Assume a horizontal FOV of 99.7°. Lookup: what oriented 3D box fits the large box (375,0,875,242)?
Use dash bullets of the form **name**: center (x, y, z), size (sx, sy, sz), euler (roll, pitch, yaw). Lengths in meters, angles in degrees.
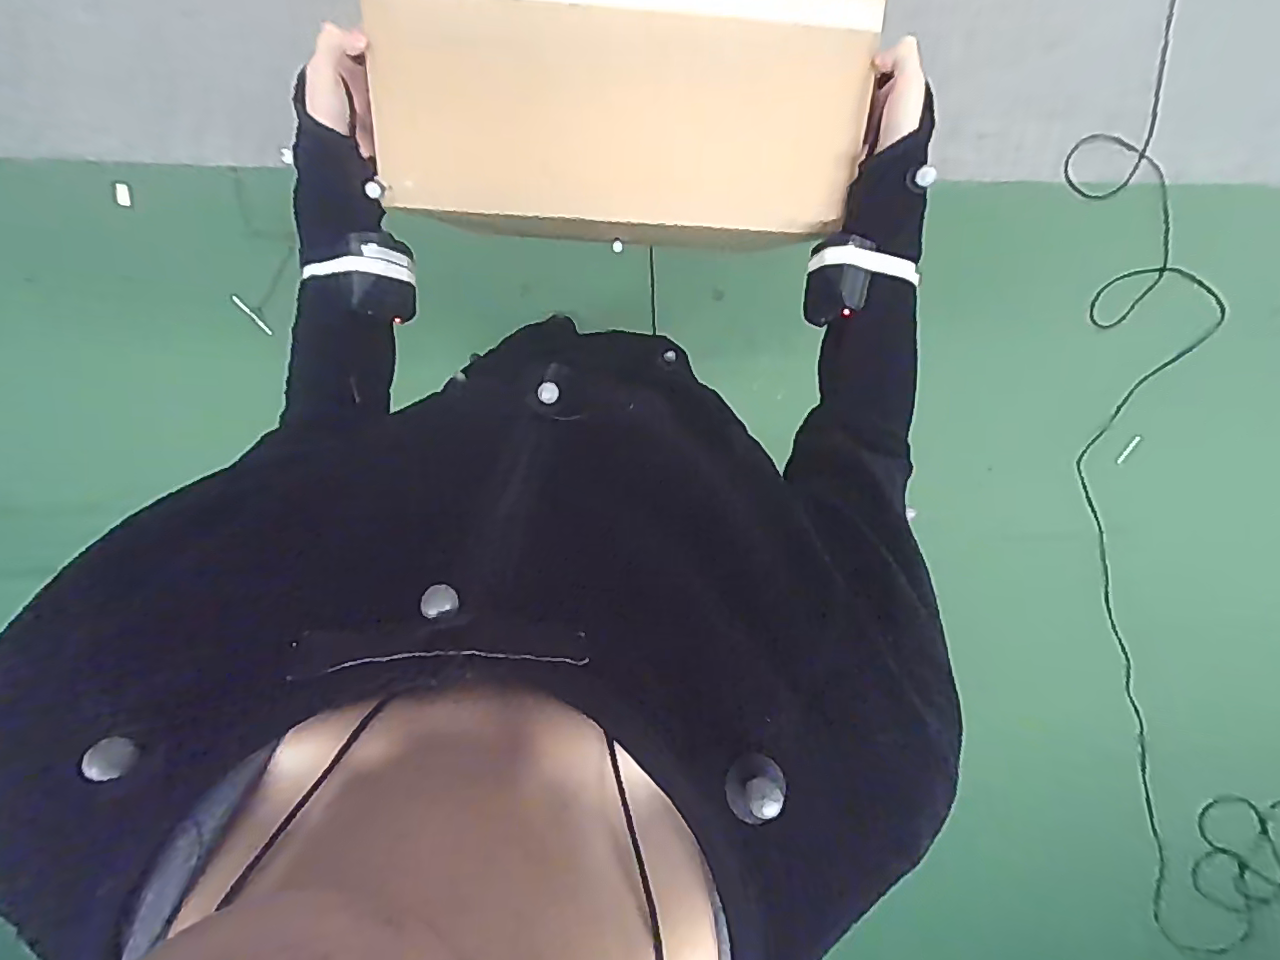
- **large box**: center (-0.014, -0.428, 0.568), size (0.408, 0.320, 0.320), euler (2, 110, -4)
